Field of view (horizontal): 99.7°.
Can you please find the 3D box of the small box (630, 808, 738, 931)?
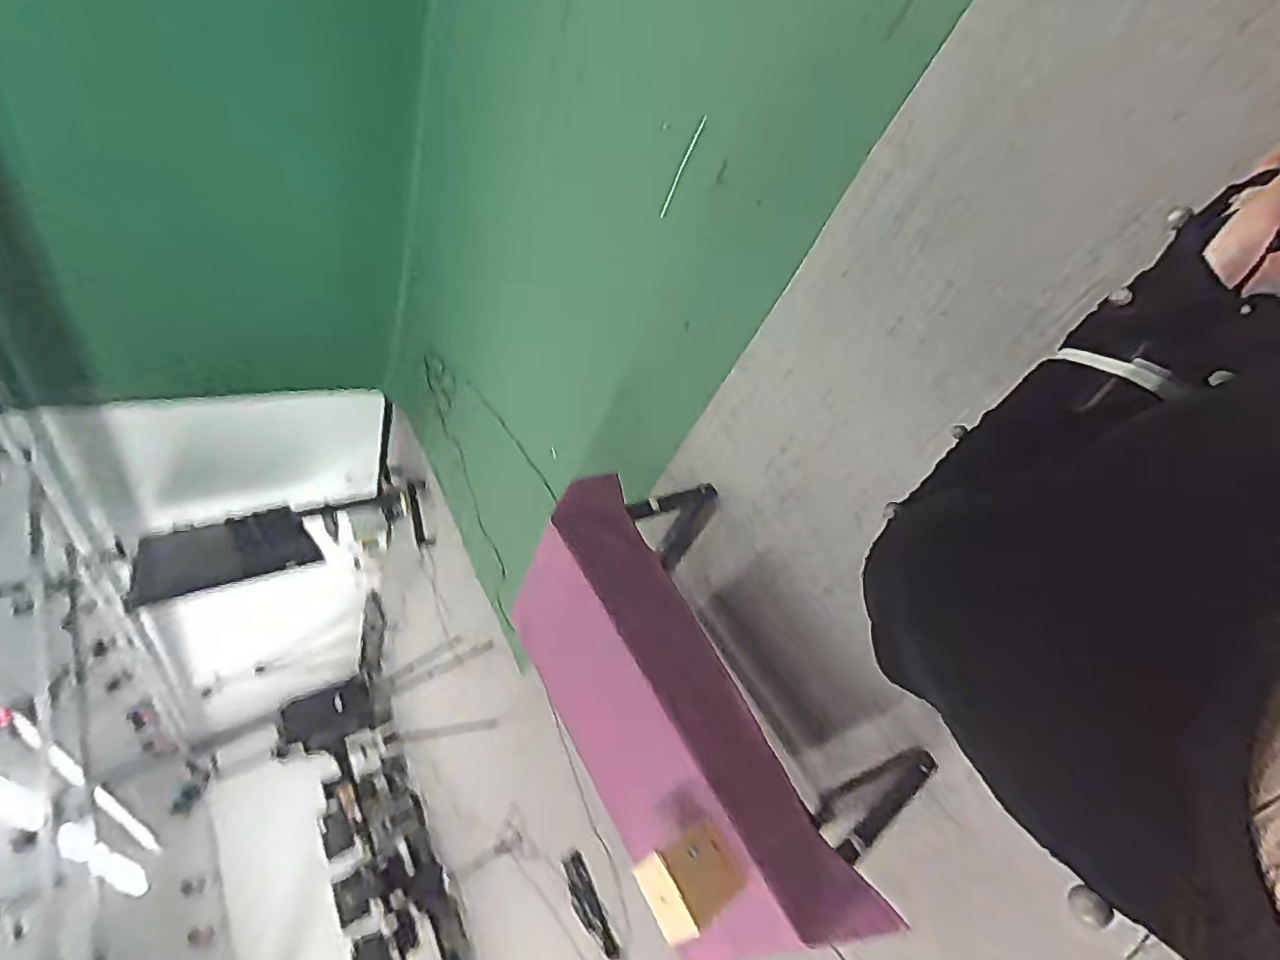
[{"bbox_3d":[0.109,0.927,1.296,0.168,0.176,0.179,54,137,28],"label":"small box"}]
